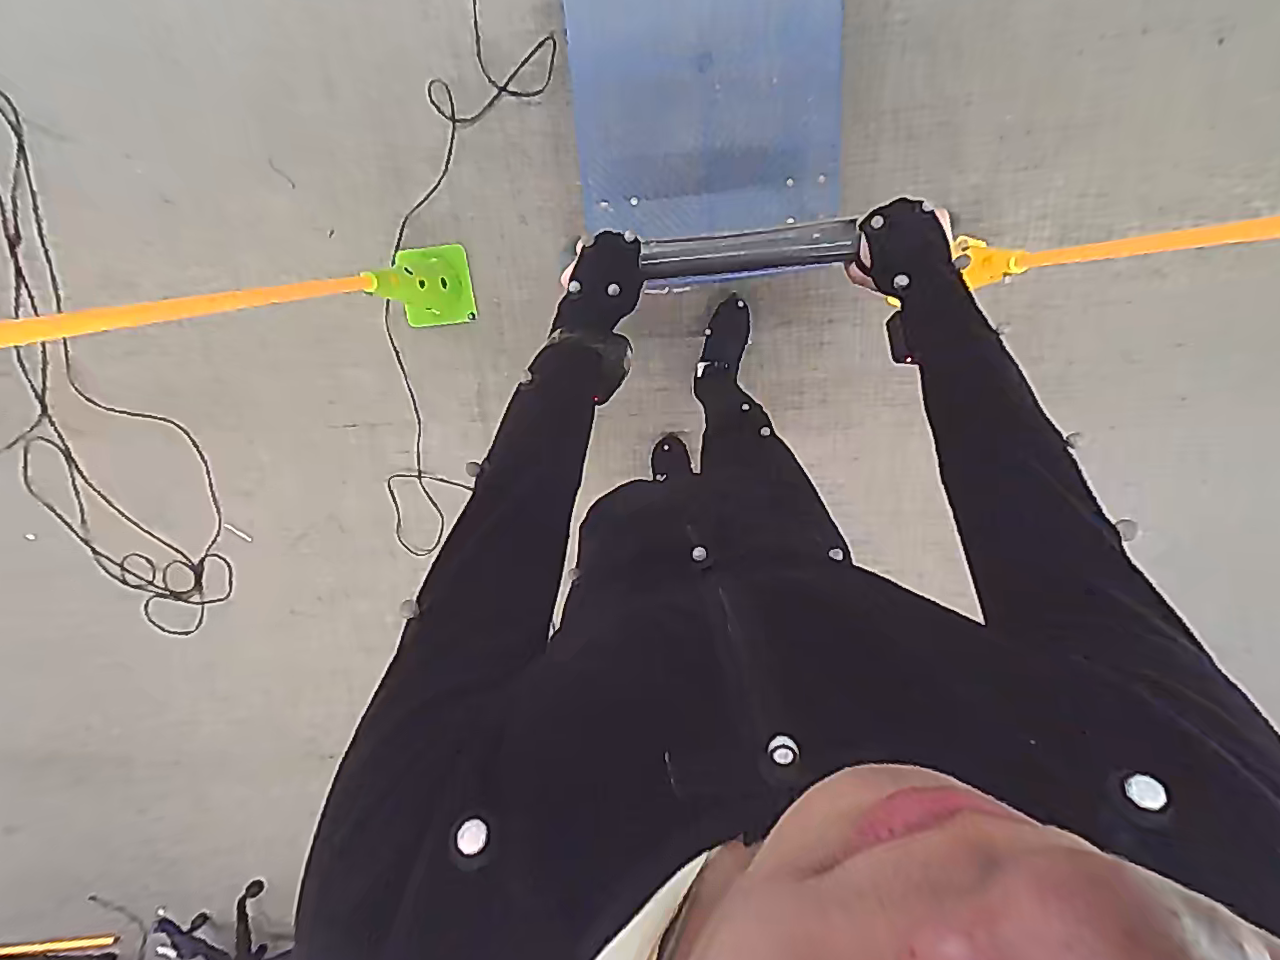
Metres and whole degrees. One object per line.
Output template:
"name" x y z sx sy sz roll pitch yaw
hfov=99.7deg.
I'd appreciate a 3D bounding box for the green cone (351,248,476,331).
"green cone" -0.572 -0.467 1.312 0.202 0.368 0.200 -5 107 7
